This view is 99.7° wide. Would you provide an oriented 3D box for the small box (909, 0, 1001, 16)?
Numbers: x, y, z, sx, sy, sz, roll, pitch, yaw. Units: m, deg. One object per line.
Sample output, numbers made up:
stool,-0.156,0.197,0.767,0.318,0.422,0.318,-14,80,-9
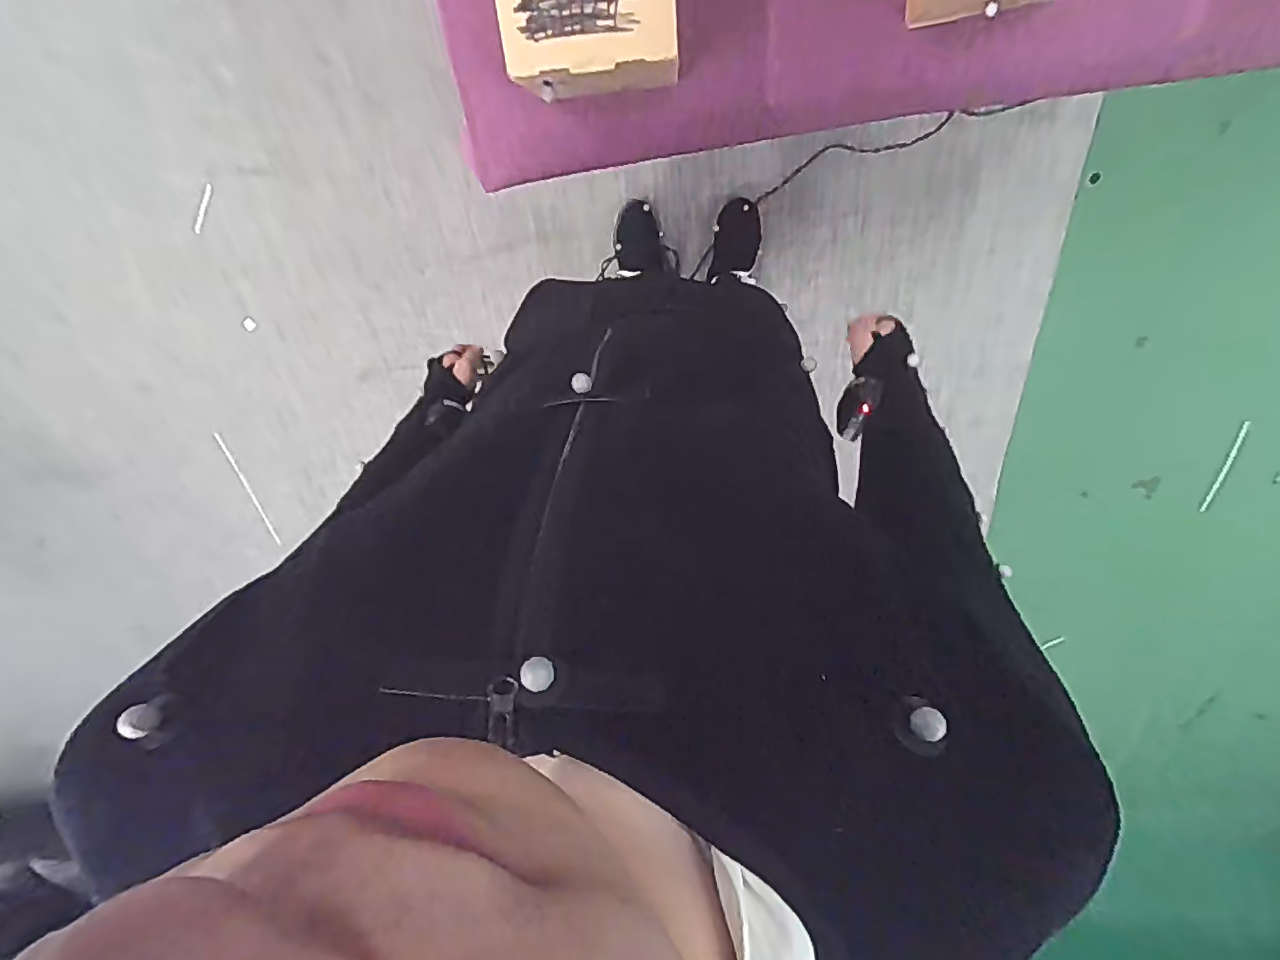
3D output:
small box,0.360,-0.563,0.489,0.168,0.176,0.179,-6,120,6
